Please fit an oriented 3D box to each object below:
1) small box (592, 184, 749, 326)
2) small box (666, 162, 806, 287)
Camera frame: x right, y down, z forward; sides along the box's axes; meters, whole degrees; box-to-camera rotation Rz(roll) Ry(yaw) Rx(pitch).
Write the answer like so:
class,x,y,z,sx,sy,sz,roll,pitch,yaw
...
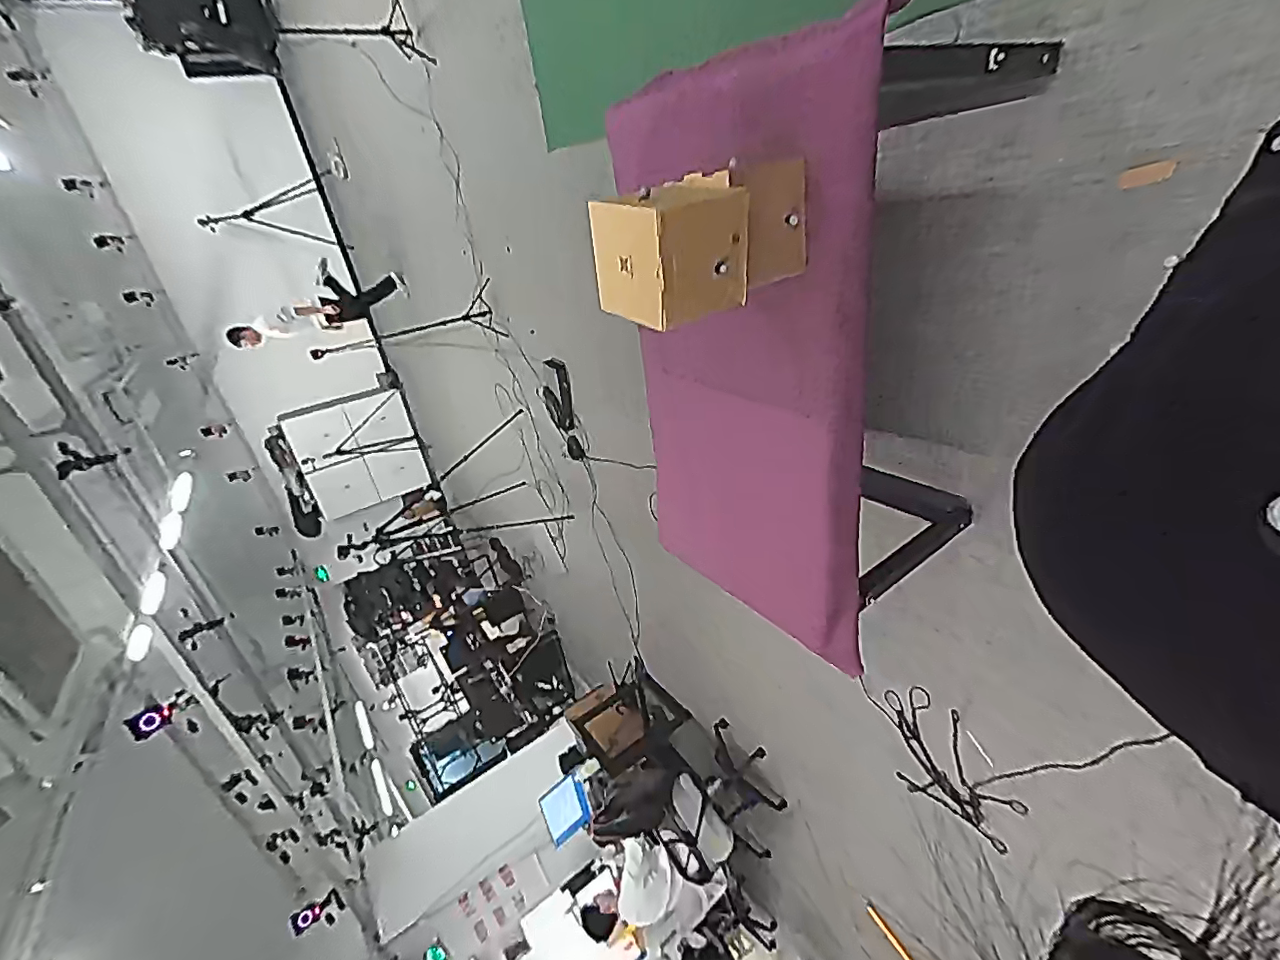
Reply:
class,x,y,z,sx,sy,sz,roll,pitch,yaw
small box,0.046,-0.357,0.844,0.179,0.176,0.168,35,141,45
small box,0.167,-0.435,0.926,0.168,0.176,0.179,29,136,52
